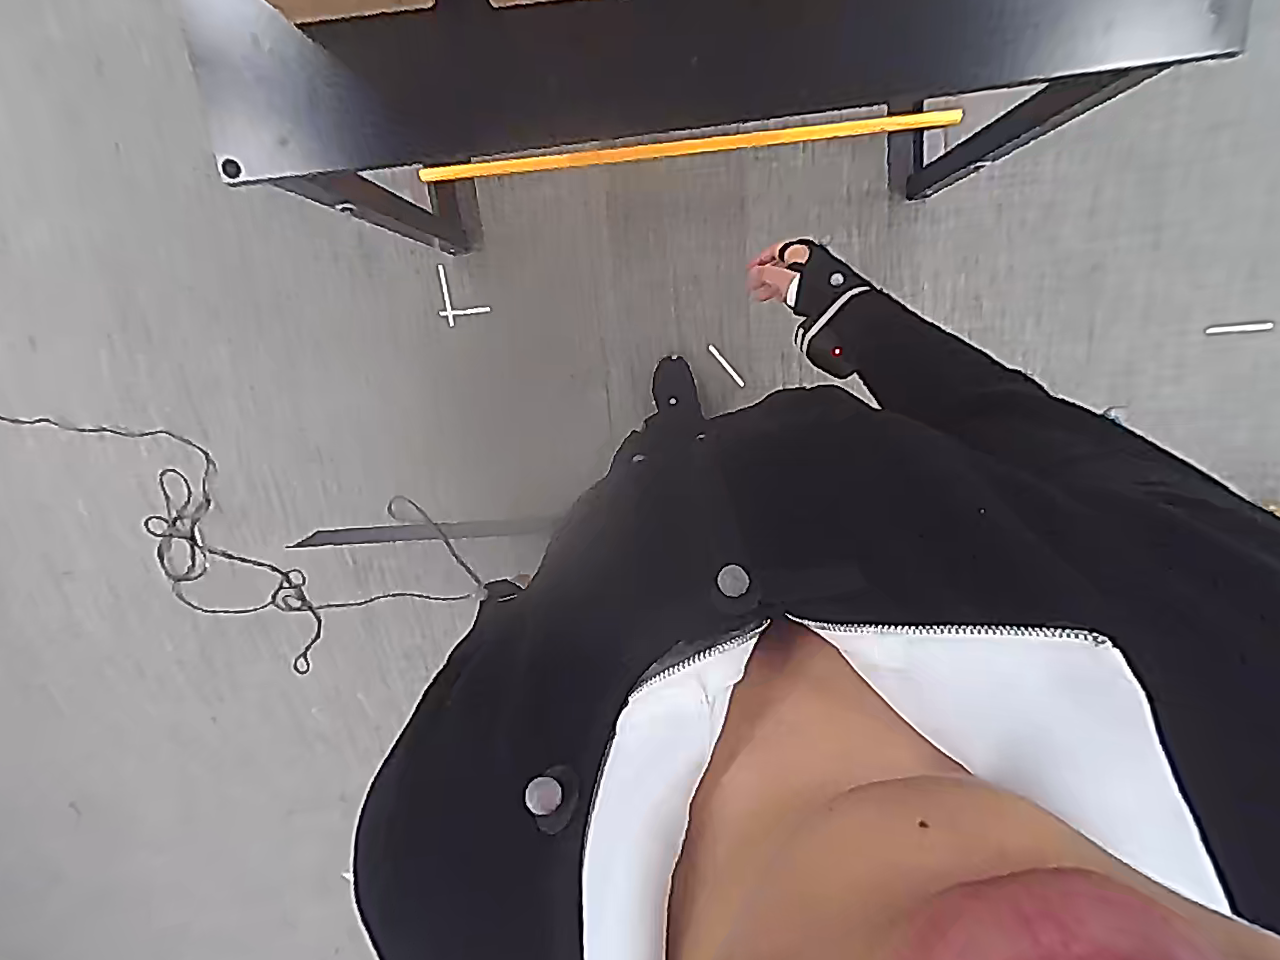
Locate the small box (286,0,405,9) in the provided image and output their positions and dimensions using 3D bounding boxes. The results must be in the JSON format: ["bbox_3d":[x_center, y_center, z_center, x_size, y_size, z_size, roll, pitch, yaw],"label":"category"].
[{"bbox_3d":[-0.329,-0.607,0.529,0.179,0.176,0.168,-5,105,3],"label":"small box"}]
